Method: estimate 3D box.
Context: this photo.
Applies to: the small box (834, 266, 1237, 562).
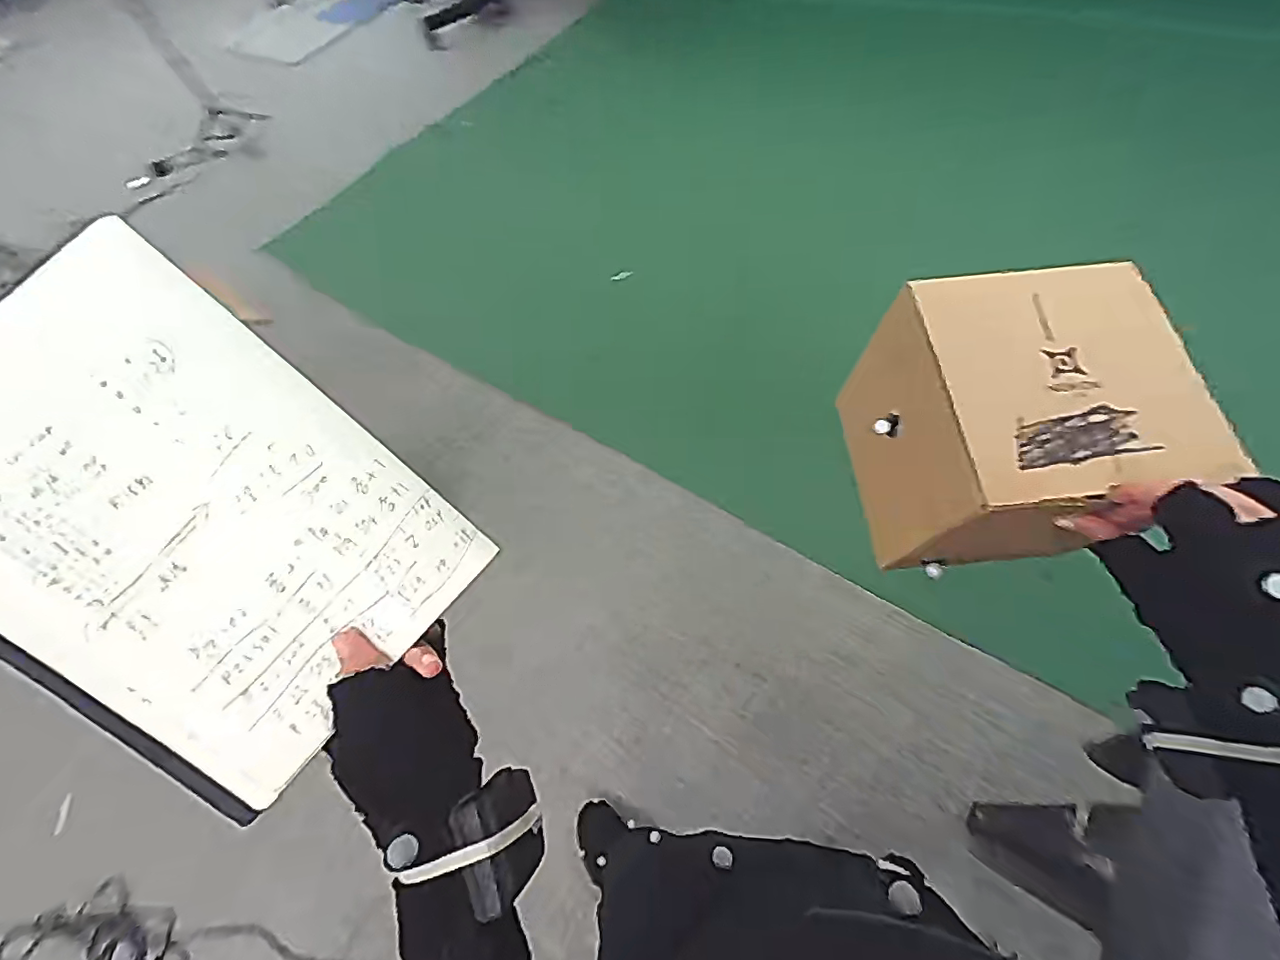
[{"bbox_3d":[0.275,-0.038,0.432,0.168,0.176,0.179,-5,66,-1],"label":"small box"}]
